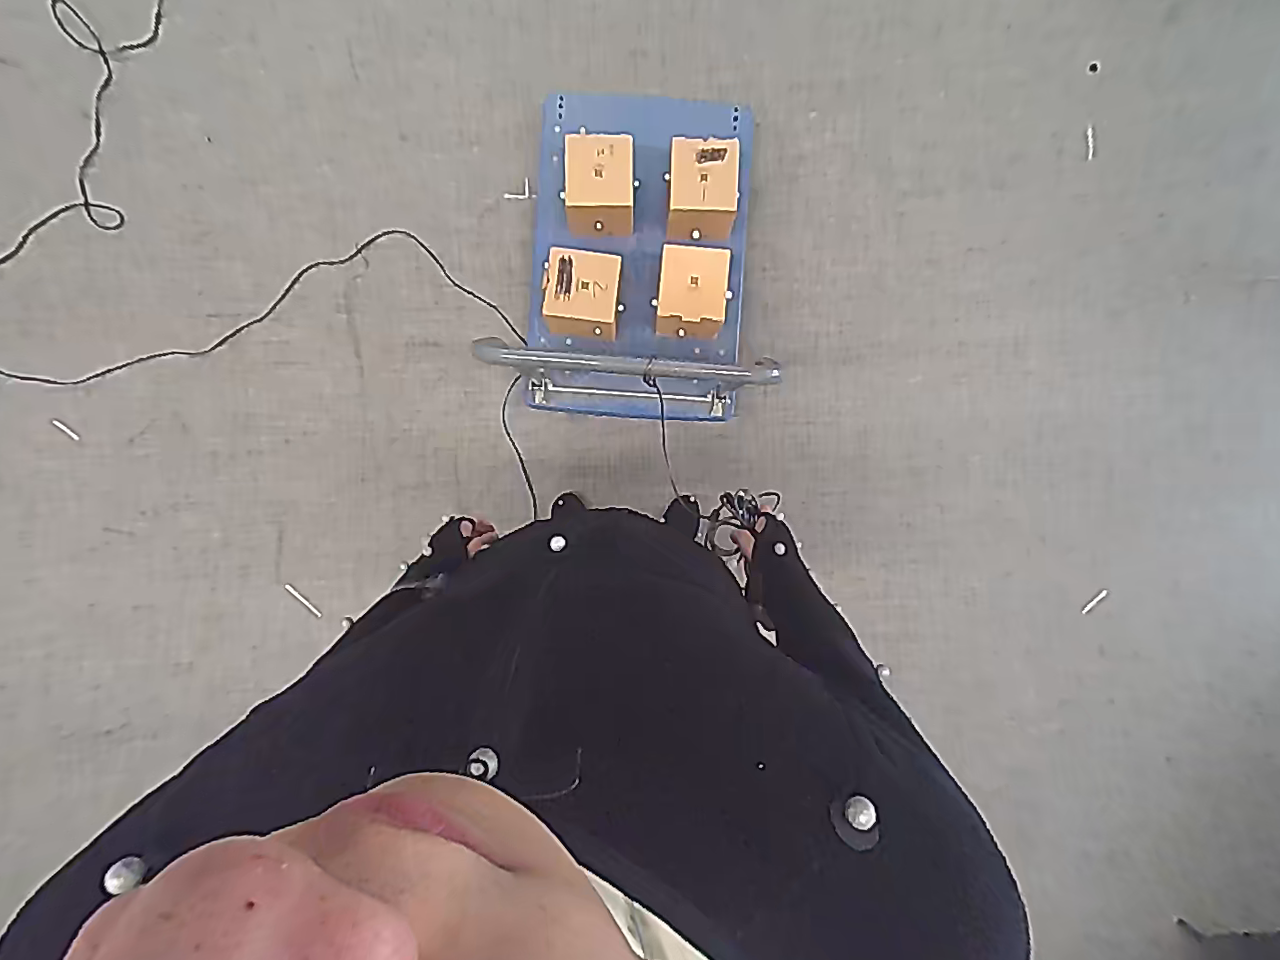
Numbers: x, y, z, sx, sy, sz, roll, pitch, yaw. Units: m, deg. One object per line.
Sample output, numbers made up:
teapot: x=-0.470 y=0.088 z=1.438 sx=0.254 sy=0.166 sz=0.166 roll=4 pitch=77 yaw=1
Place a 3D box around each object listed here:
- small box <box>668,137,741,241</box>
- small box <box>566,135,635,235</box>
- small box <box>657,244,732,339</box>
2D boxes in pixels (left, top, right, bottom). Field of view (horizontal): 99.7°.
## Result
small box: x=0.159 y=-0.738 z=1.384 sx=0.168 sy=0.176 sz=0.179 roll=2 pitch=91 yaw=0
small box: x=-0.098 y=-0.746 z=1.383 sx=0.168 sy=0.176 sz=0.179 roll=0 pitch=90 yaw=-1
small box: x=0.134 y=-0.477 z=1.387 sx=0.168 sy=0.176 sz=0.179 roll=5 pitch=91 yaw=0
